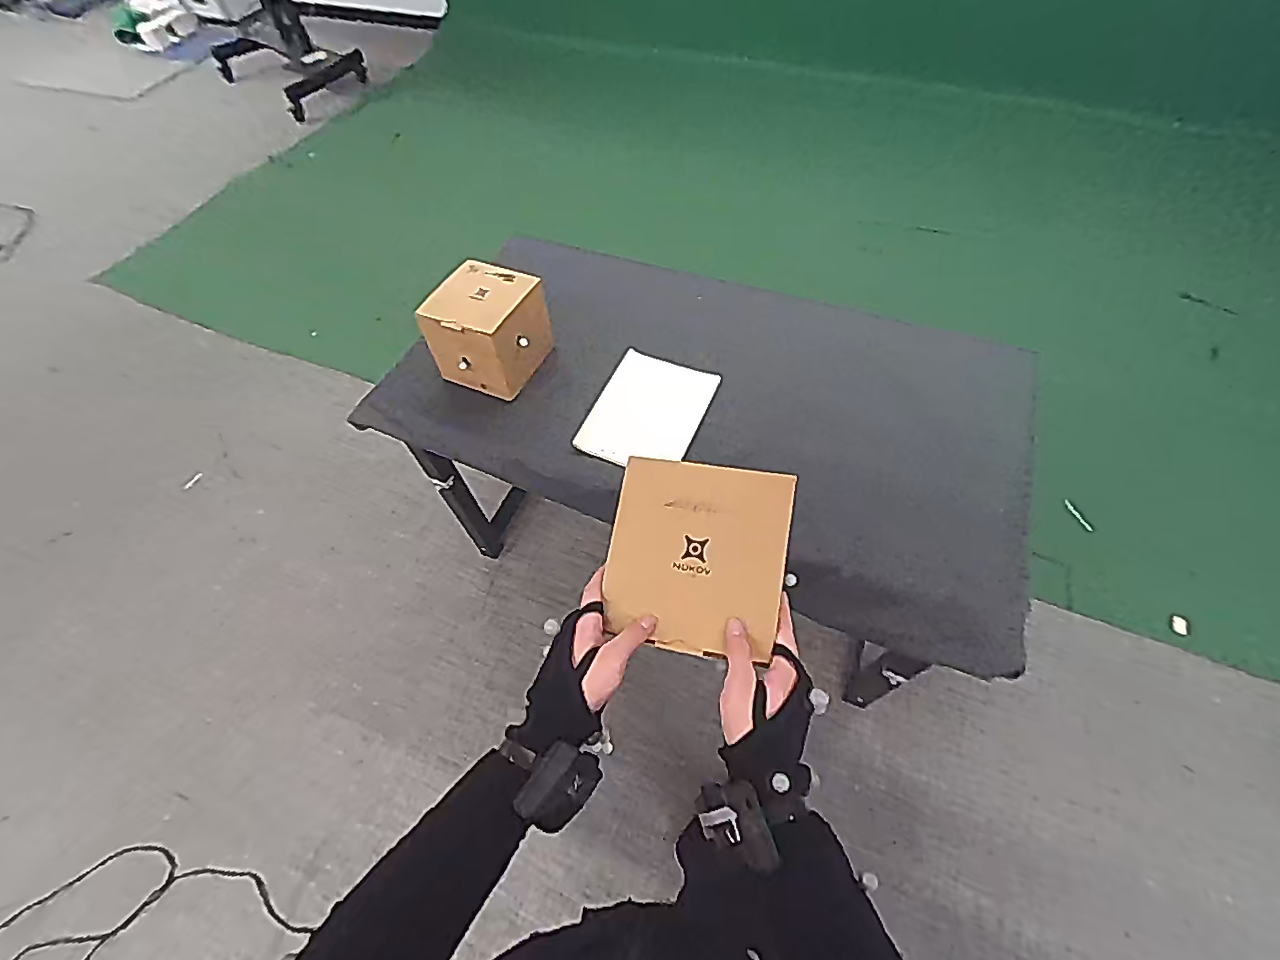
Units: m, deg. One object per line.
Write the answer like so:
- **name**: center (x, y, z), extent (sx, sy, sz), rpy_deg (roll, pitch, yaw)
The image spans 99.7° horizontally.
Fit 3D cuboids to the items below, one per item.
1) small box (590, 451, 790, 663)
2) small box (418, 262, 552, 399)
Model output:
- **small box**: center (0.061, 0.085, 0.571), extent (0.168, 0.176, 0.179), rpy_deg (7, 75, 13)
- **small box**: center (-0.288, -0.287, 1.054), extent (0.168, 0.176, 0.179), rpy_deg (20, 60, 14)
